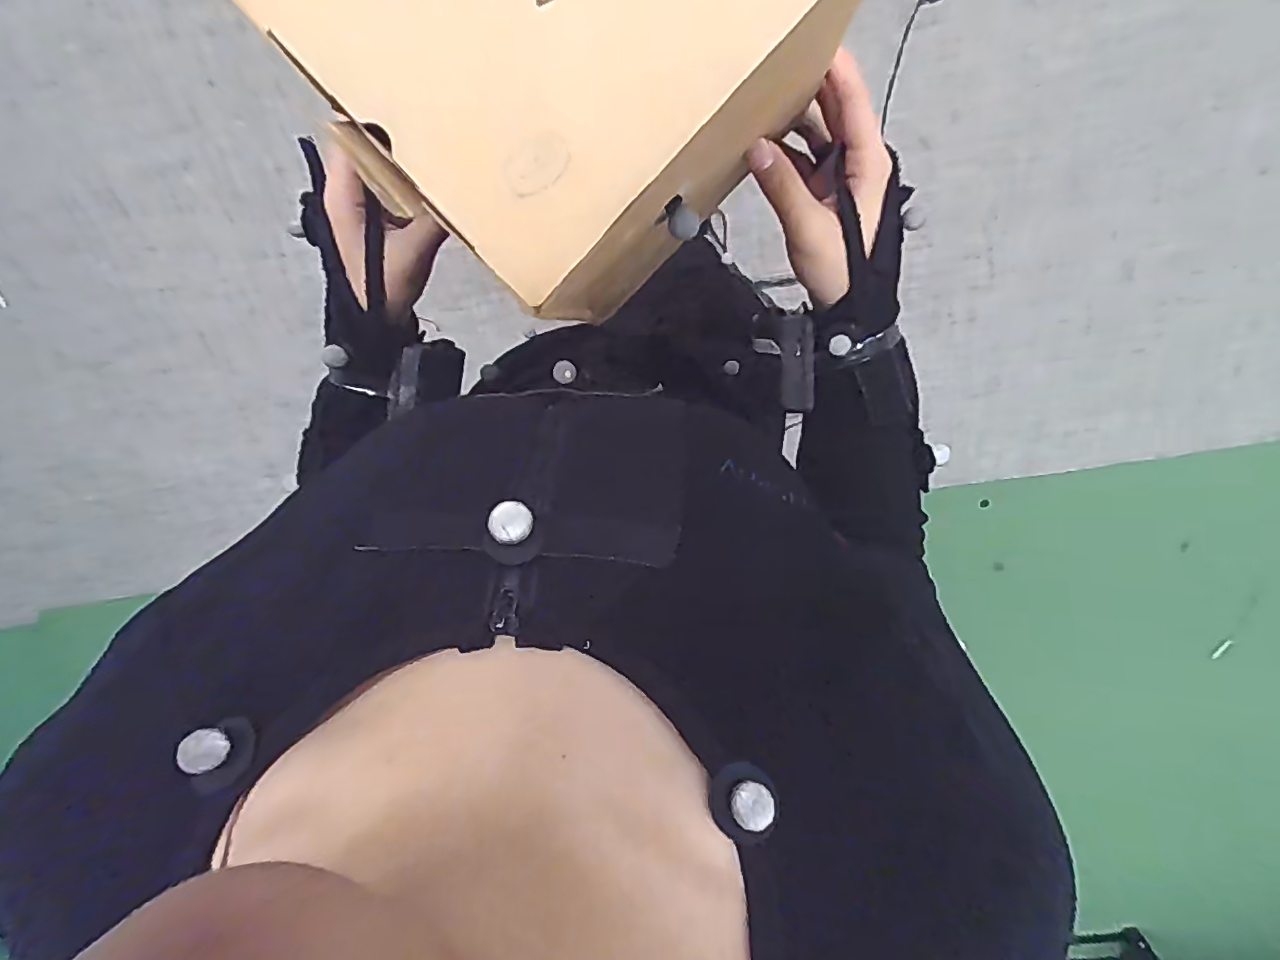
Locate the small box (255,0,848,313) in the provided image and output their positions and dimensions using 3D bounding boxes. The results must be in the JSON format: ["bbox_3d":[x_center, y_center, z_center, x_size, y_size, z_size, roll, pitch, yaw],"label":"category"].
[{"bbox_3d":[-0.024,-0.202,0.270,0.179,0.176,0.168,-43,97,14],"label":"small box"}]
